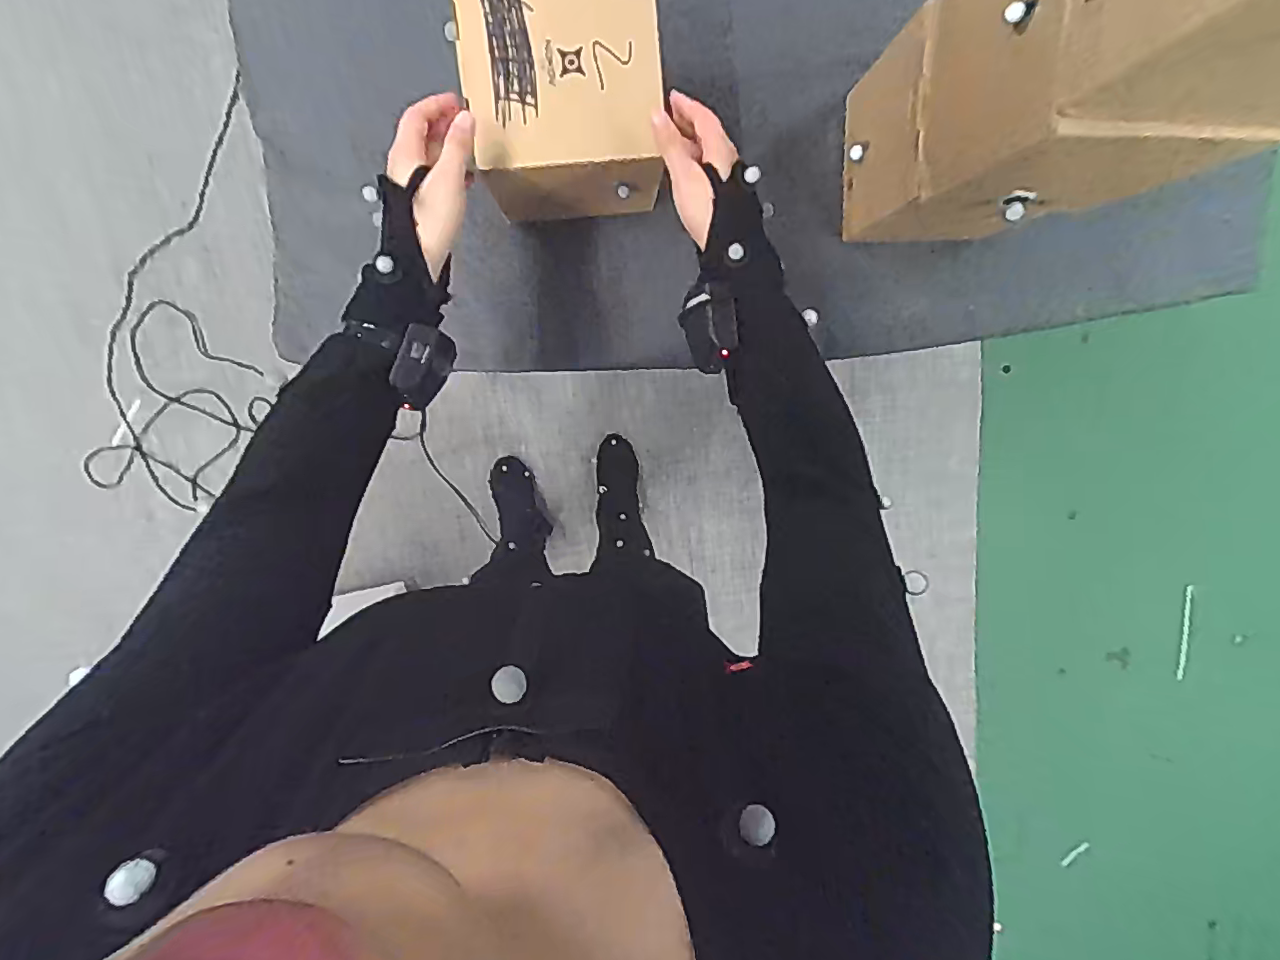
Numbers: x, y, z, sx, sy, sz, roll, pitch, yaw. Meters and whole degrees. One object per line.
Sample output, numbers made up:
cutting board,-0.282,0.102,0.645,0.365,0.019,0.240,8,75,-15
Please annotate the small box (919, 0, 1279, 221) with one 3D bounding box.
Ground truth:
small box,0.341,-0.316,0.414,0.168,0.176,0.179,0,102,-1

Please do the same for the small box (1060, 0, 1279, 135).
small box,0.349,-0.287,0.252,0.179,0.176,0.168,2,101,-2

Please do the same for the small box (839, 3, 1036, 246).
small box,0.334,-0.354,0.571,0.179,0.176,0.168,-2,101,-2
